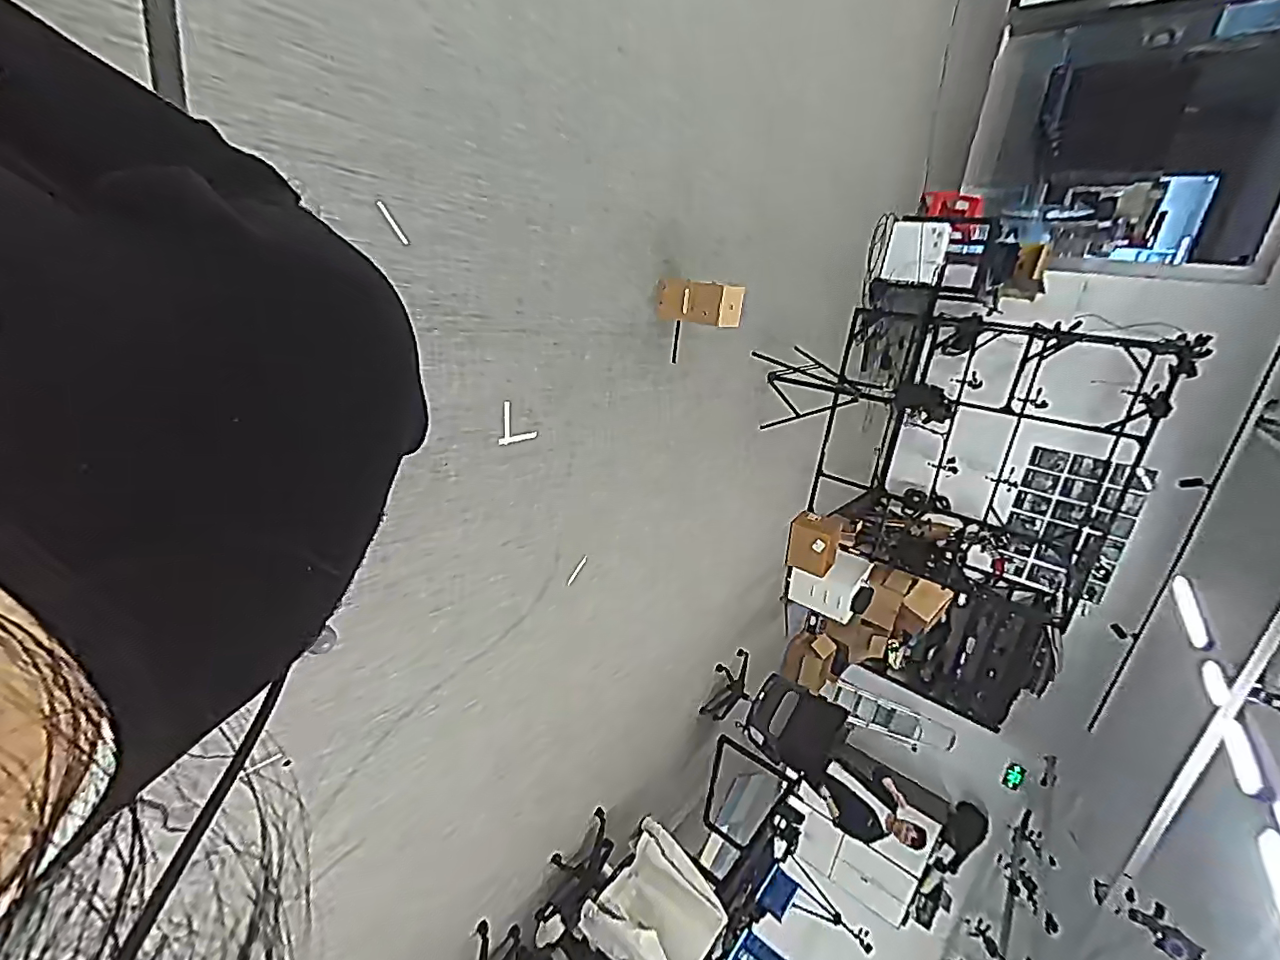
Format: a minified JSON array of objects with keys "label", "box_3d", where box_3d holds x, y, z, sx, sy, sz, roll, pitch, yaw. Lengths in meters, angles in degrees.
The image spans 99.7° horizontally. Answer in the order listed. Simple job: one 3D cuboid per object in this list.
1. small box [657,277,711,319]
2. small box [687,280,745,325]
[{"label":"small box","box_3d":[0.195,-0.806,2.397,0.179,0.176,0.168,-19,122,-49]},{"label":"small box","box_3d":[0.320,-0.756,2.306,0.179,0.176,0.168,-20,124,-48]}]
